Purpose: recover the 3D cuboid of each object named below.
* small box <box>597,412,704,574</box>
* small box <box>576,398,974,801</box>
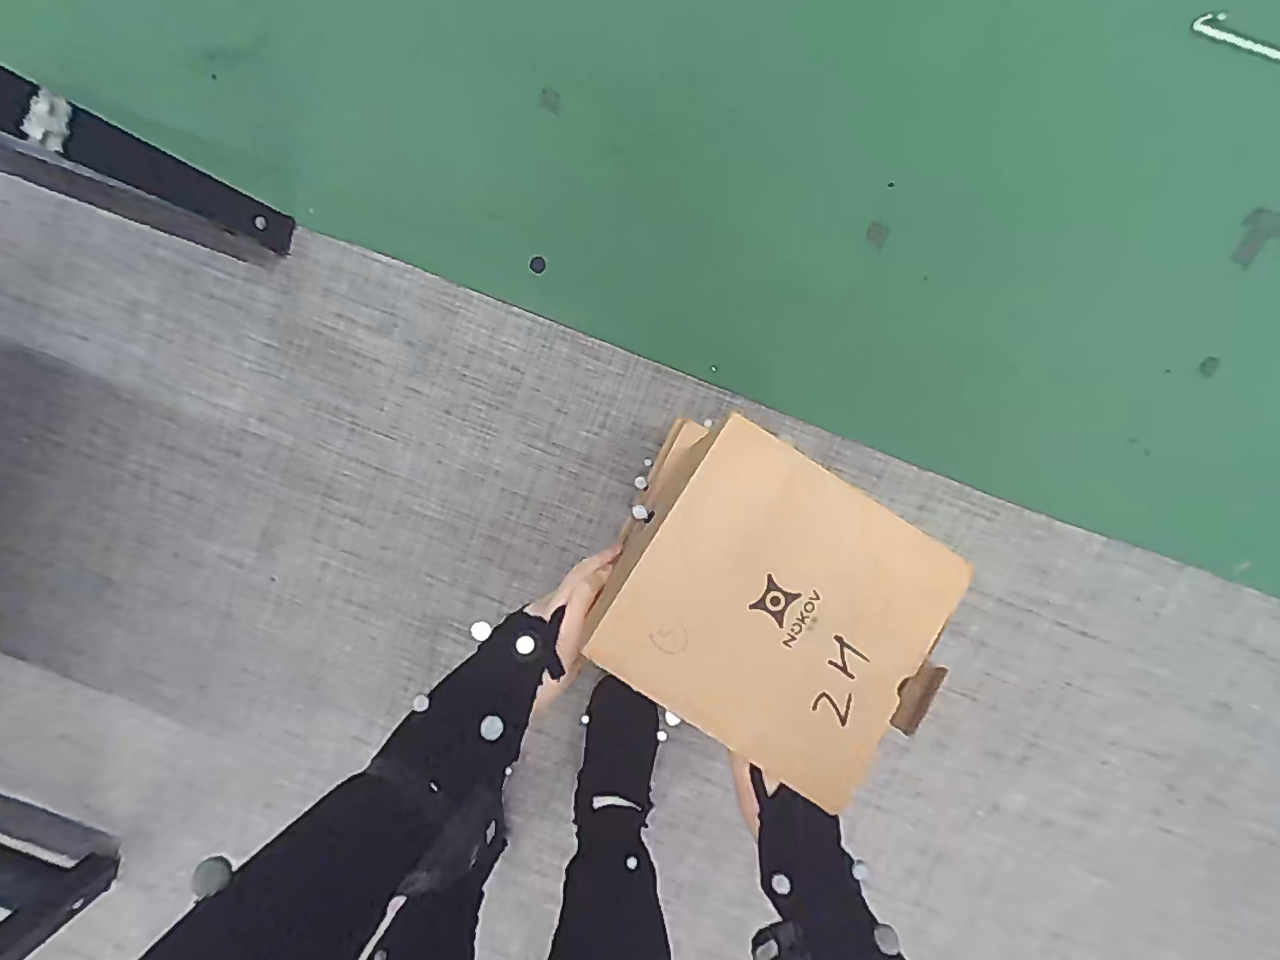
[{"bbox_3d":[0.076,0.044,0.562,0.168,0.176,0.179,27,97,1],"label":"small box"},{"bbox_3d":[0.073,0.071,0.383,0.179,0.176,0.168,33,85,-1],"label":"small box"}]
